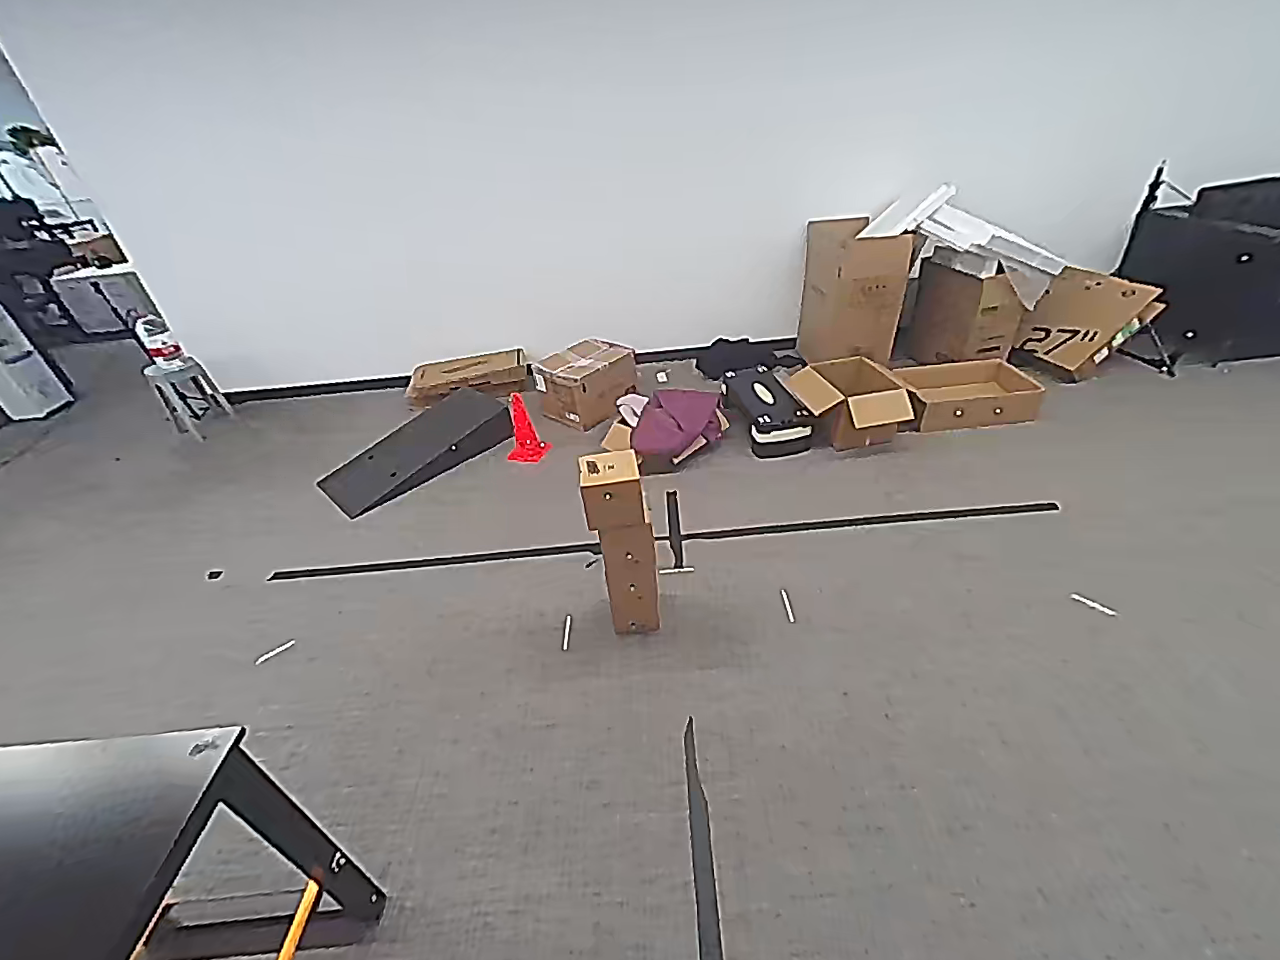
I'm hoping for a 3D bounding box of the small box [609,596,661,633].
[{"bbox_3d":[-0.019,0.423,1.940,0.168,0.176,0.179,-7,36,1],"label":"small box"}]

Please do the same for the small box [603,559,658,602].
[{"bbox_3d":[-0.030,0.299,1.832,0.168,0.176,0.179,-7,35,1],"label":"small box"}]

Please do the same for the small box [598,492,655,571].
[{"bbox_3d":[-0.048,0.164,1.737,0.168,0.176,0.179,-10,35,-2],"label":"small box"}]

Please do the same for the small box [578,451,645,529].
[{"bbox_3d":[-0.086,0.033,1.643,0.179,0.176,0.168,-9,35,-2],"label":"small box"}]
